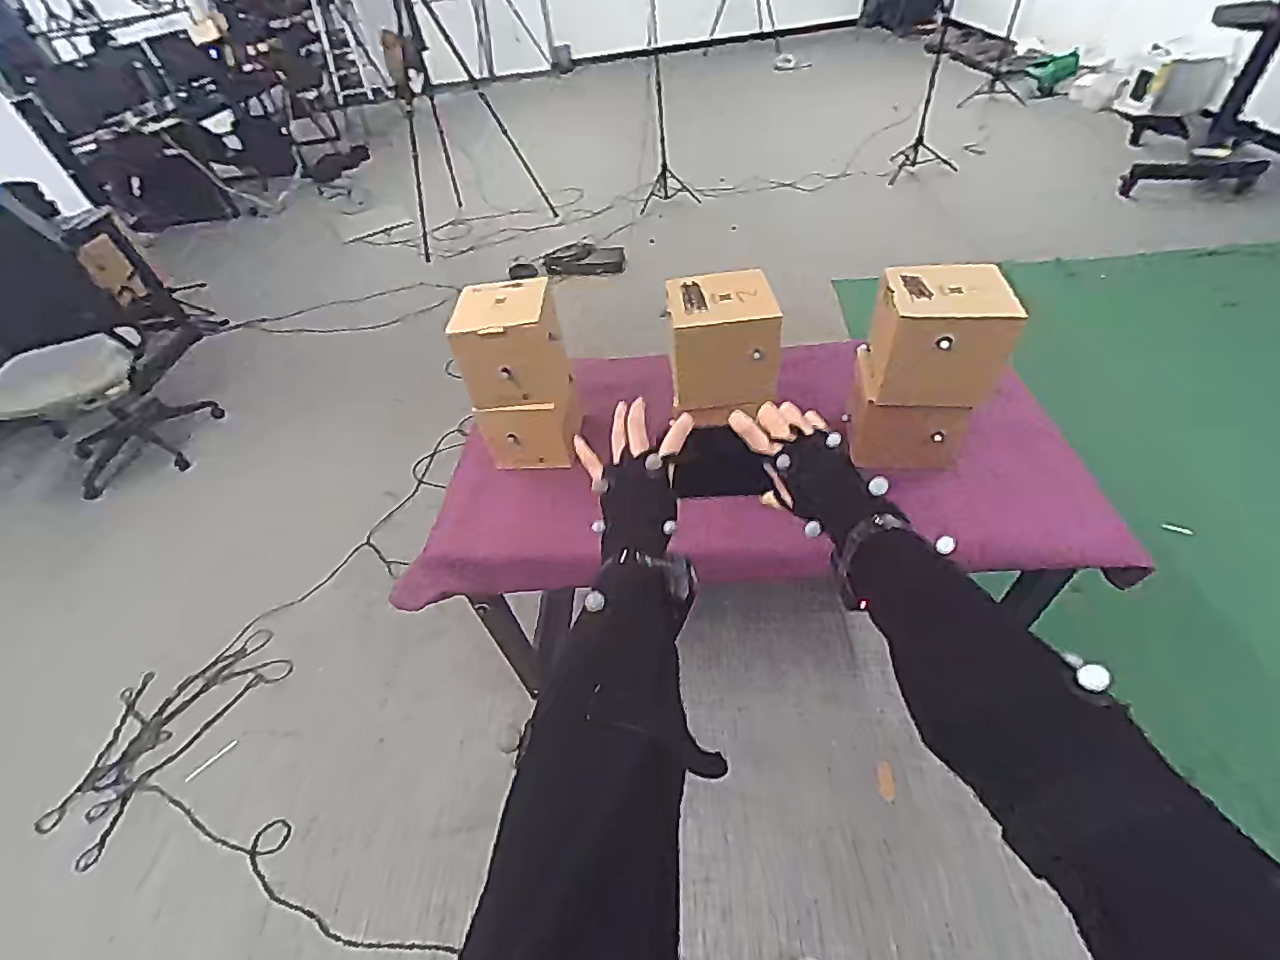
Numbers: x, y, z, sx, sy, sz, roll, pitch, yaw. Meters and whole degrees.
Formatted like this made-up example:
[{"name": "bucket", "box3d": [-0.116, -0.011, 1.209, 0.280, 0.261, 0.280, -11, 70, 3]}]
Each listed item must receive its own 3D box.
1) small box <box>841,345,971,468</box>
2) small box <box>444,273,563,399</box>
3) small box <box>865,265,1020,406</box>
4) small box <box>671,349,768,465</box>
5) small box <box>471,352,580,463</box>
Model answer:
[{"name": "small box", "box3d": [0.492, -0.137, 1.028, 0.179, 0.176, 0.168, 3, 47, 12]}, {"name": "small box", "box3d": [-0.247, -0.267, 1.030, 0.168, 0.176, 0.179, -4, 47, 4]}, {"name": "small box", "box3d": [0.482, -0.237, 0.898, 0.179, 0.176, 0.168, 4, 47, 11]}, {"name": "small box", "box3d": [0.155, -0.142, 1.079, 0.179, 0.176, 0.168, -1, 47, 7]}, {"name": "small box", "box3d": [-0.230, -0.149, 1.144, 0.168, 0.176, 0.179, -1, 47, 8]}]
